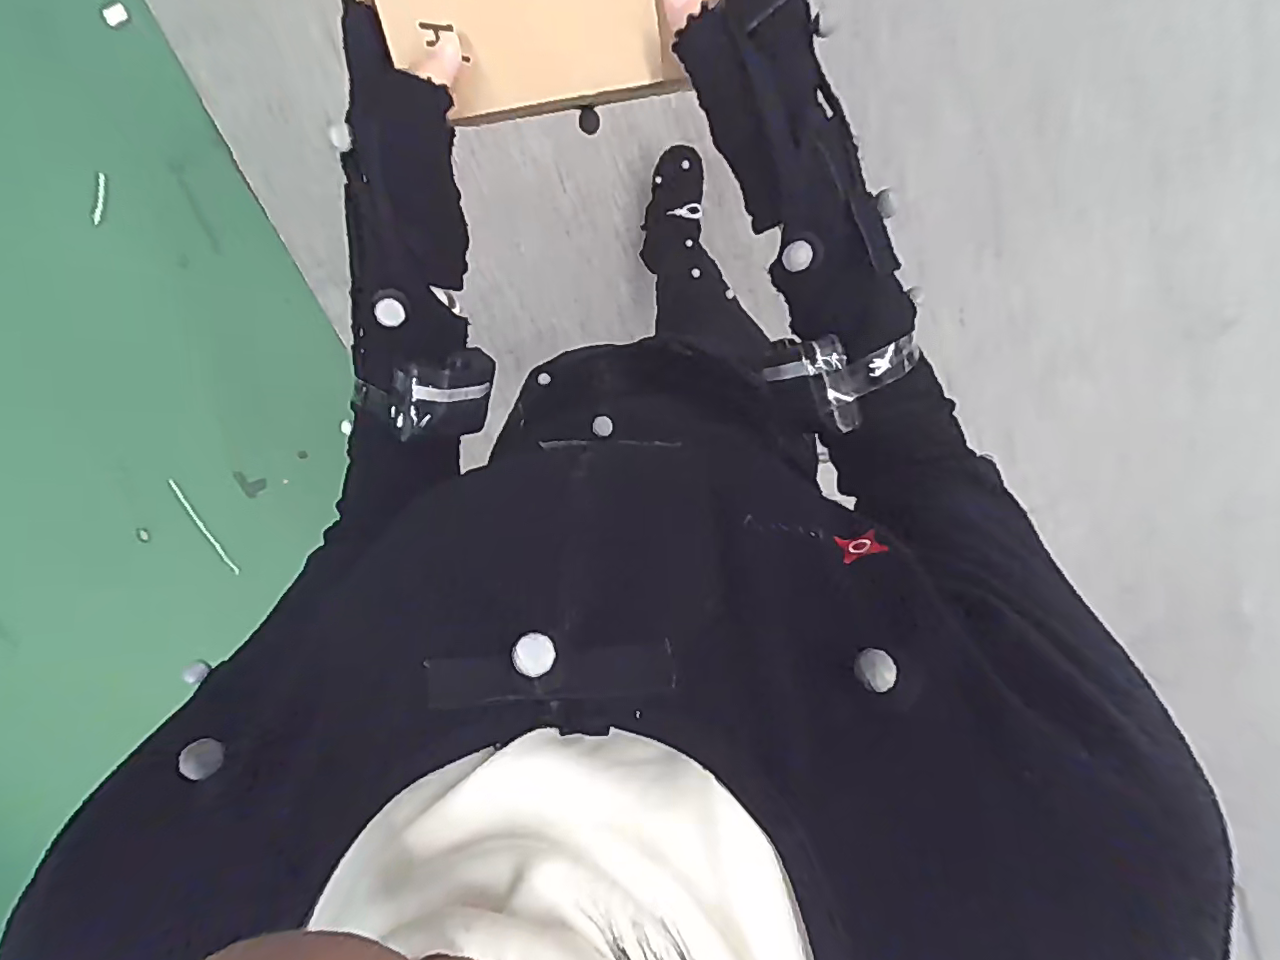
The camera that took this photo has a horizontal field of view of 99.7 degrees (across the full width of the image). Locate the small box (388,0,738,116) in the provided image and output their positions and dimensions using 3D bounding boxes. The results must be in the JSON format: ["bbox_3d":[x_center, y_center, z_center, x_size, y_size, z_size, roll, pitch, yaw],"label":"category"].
[{"bbox_3d":[-0.048,-0.322,0.313,0.179,0.176,0.168,-8,122,2],"label":"small box"}]
